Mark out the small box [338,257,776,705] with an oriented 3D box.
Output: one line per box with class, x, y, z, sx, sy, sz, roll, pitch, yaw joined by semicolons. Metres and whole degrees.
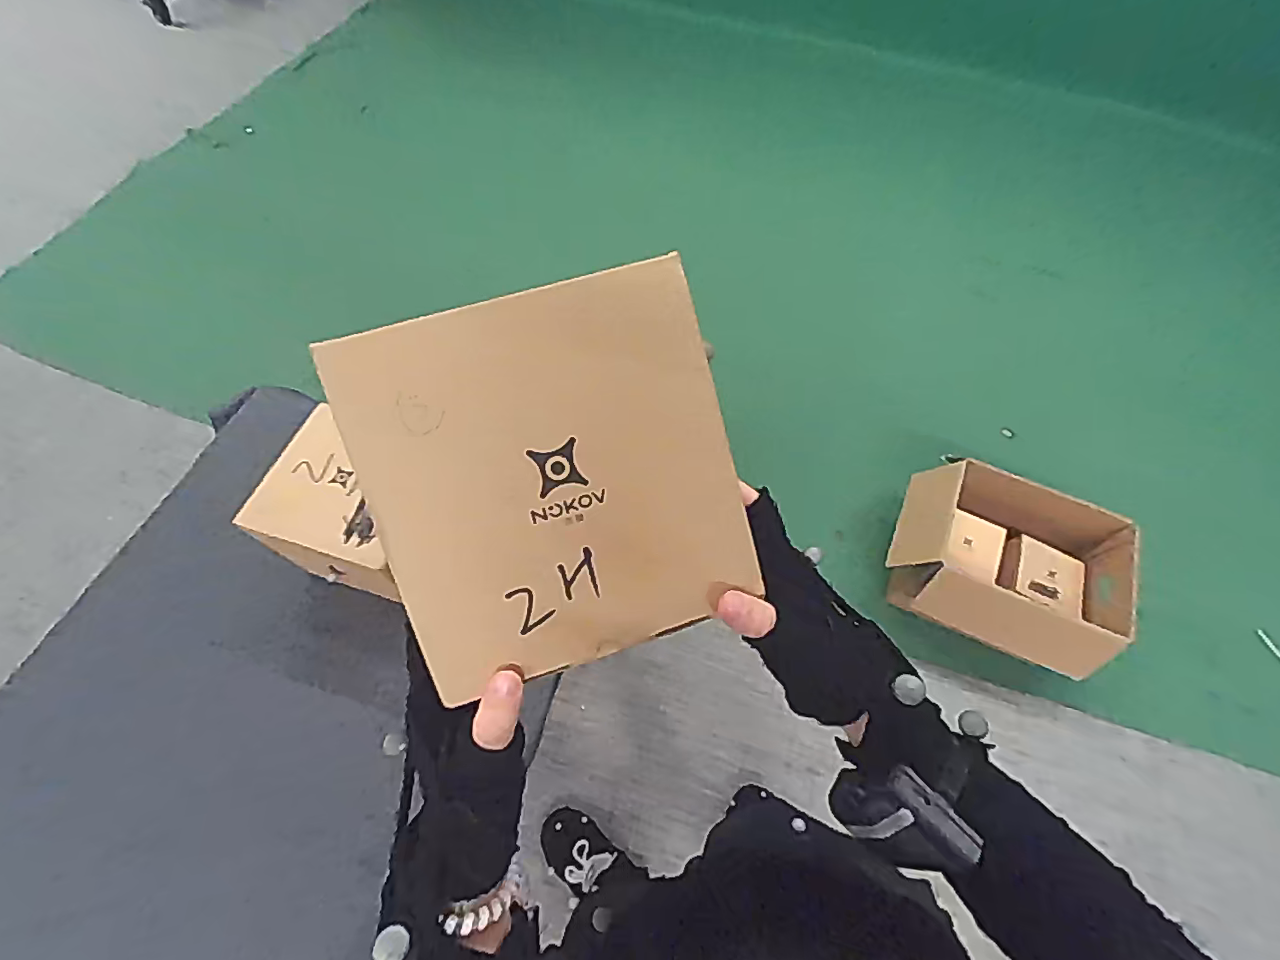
small box;-0.043;-0.007;0.326;0.168;0.176;0.179;-16;99;-7
